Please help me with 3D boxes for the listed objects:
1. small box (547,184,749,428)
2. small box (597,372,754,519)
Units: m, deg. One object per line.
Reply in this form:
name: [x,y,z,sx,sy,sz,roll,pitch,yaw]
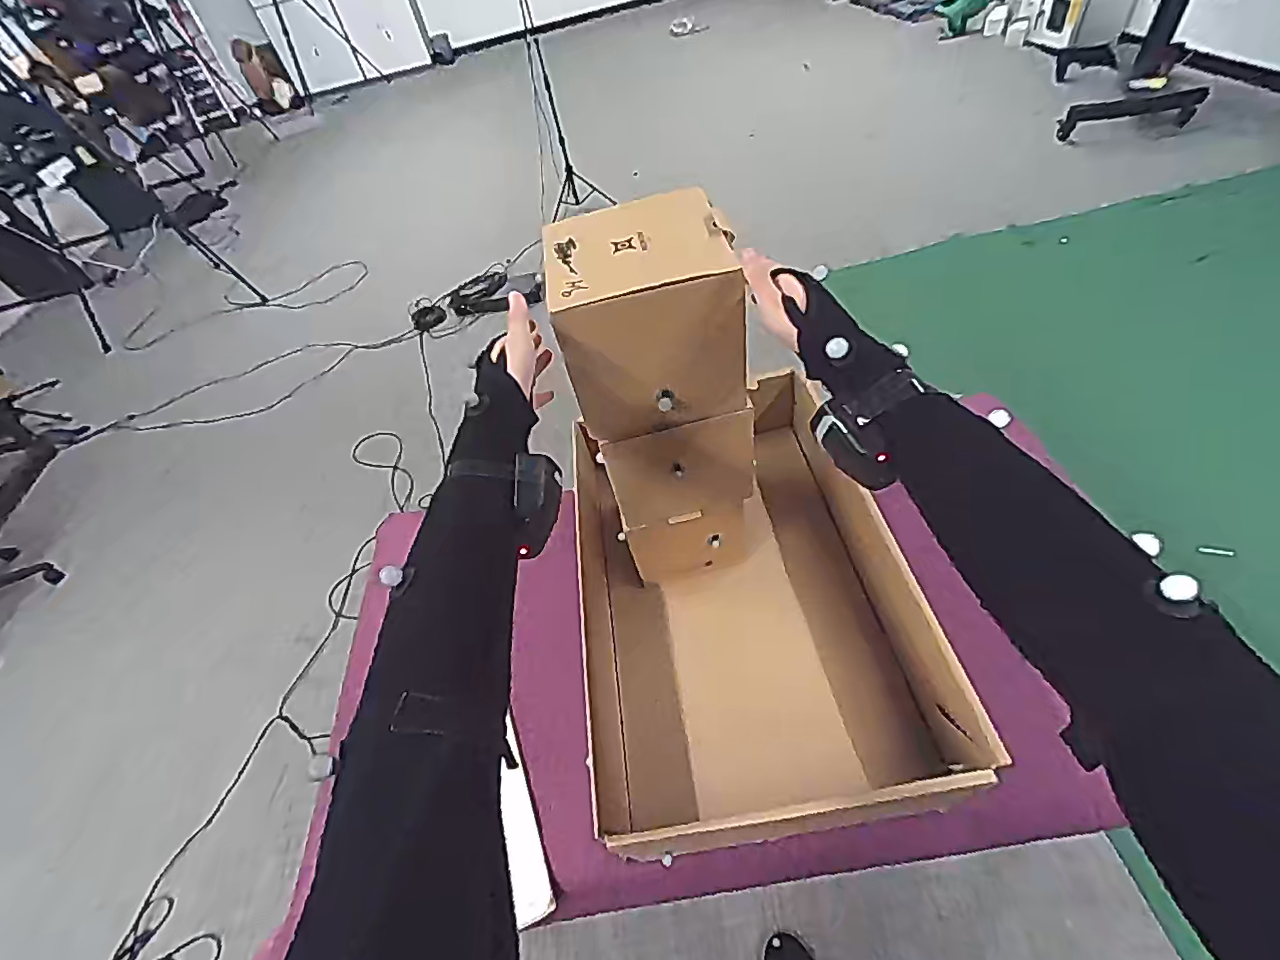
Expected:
small box: [0.009,-0.178,0.571,0.179,0.176,0.168,-11,50,1]
small box: [0.039,-0.074,0.696,0.179,0.176,0.168,-14,50,1]
